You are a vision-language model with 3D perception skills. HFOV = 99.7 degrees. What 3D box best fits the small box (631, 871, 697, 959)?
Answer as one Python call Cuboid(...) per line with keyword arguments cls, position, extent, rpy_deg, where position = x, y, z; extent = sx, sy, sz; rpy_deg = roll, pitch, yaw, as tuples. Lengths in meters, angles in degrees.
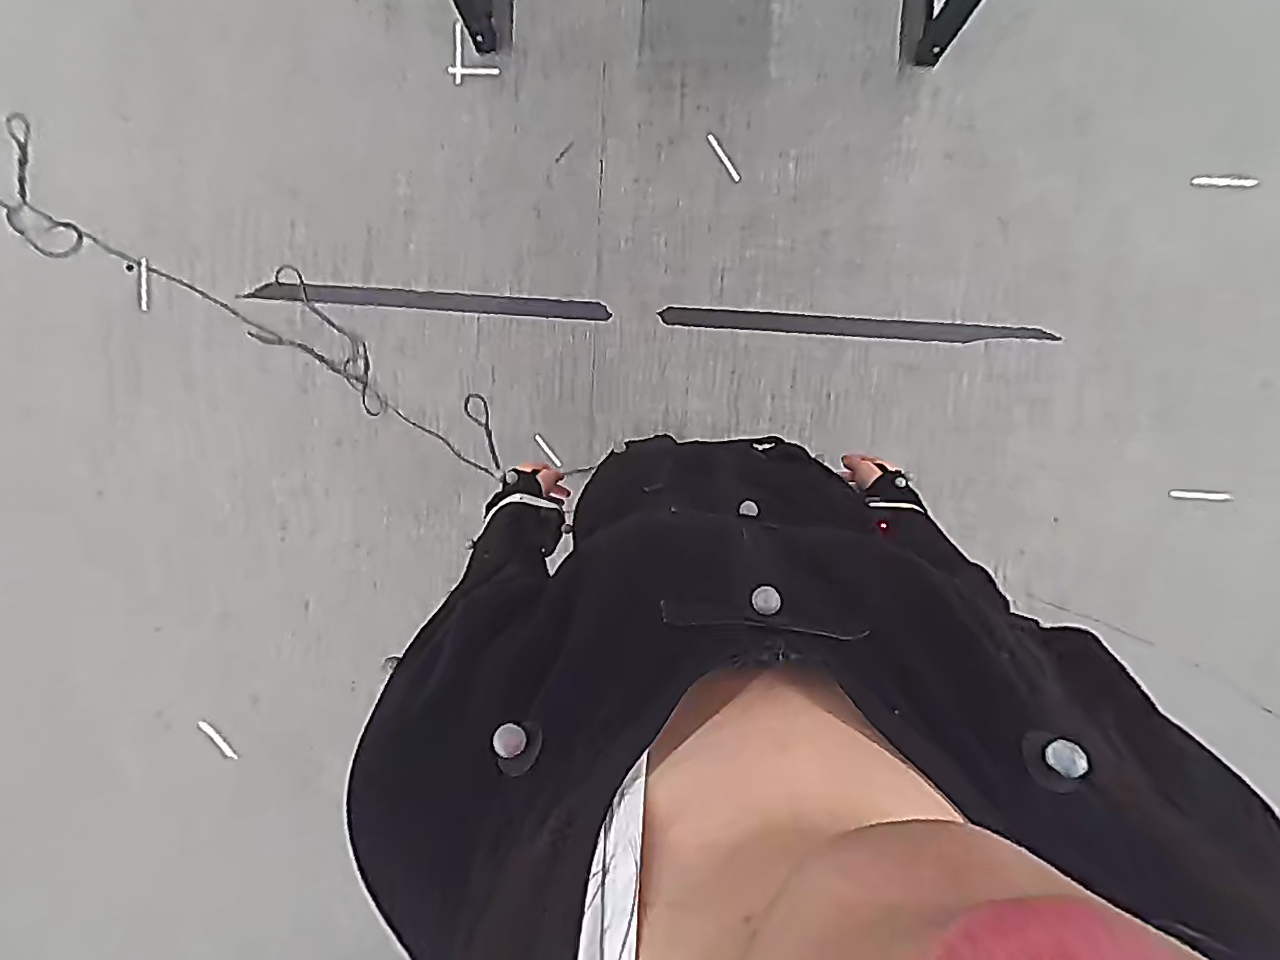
Cuboid(cls="small box", position=(0.067, 1.213, 1.486), extent=(0.168, 0.176, 0.179), rpy_deg=(-6, 94, 1))
